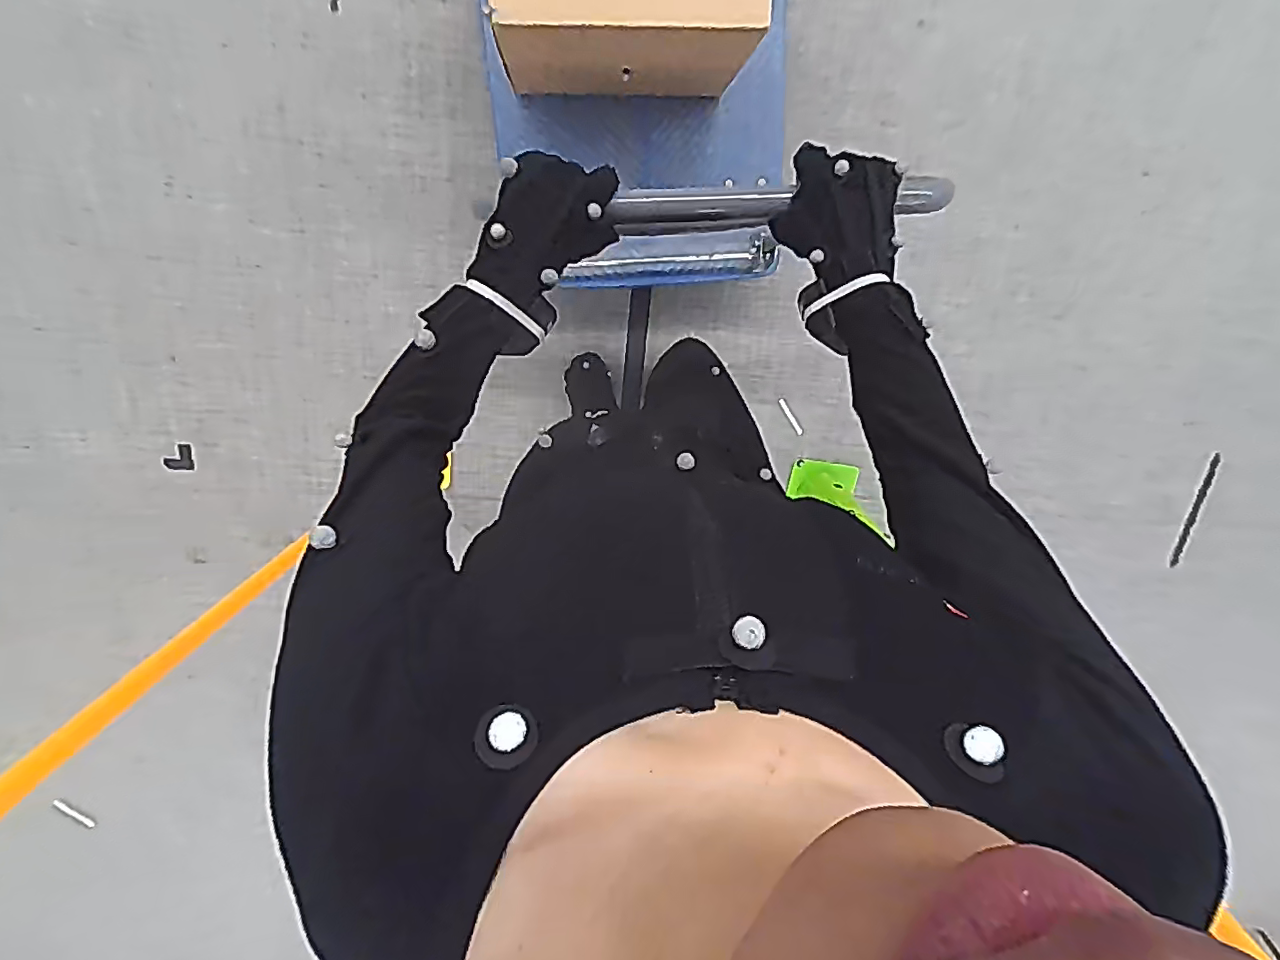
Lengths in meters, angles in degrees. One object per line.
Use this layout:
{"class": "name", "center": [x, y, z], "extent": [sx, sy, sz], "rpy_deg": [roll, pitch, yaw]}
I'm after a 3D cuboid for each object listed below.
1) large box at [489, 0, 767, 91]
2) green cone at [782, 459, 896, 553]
{"class": "large box", "center": [-0.028, -0.850, 0.864], "extent": [0.408, 0.320, 0.320], "rpy_deg": [-3, 110, -4]}
{"class": "green cone", "center": [0.542, 0.096, 1.404], "extent": [0.202, 0.368, 0.200], "rpy_deg": [6, 108, -10]}
